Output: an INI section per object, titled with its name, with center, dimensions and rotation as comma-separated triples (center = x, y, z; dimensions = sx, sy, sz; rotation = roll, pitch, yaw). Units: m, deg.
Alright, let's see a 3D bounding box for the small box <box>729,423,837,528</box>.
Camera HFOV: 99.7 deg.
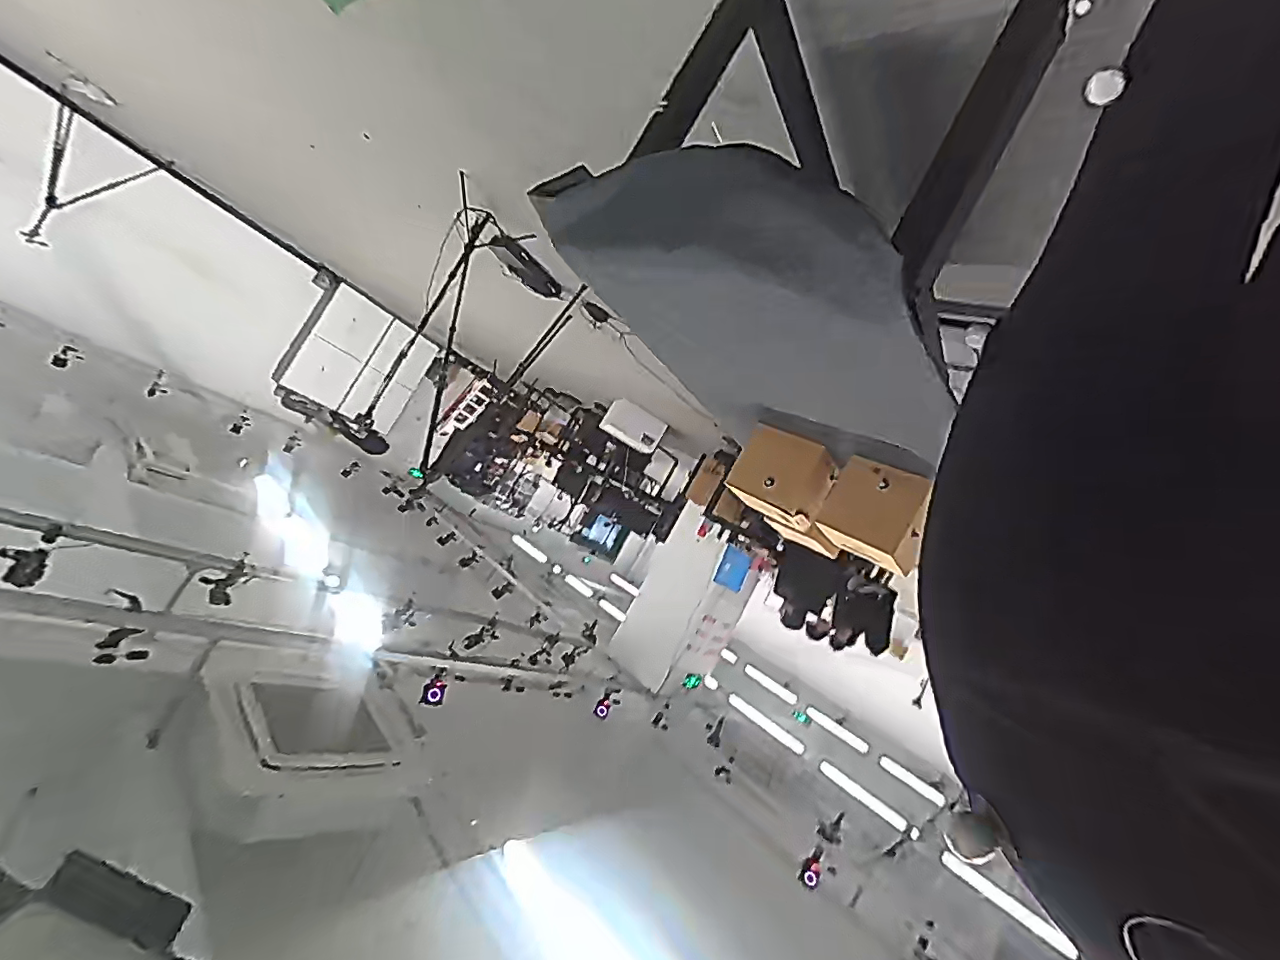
[small box]
center = 0.343, -0.014, 1.266
dimensions = 0.179, 0.176, 0.168
rotation = 27, 175, 36
